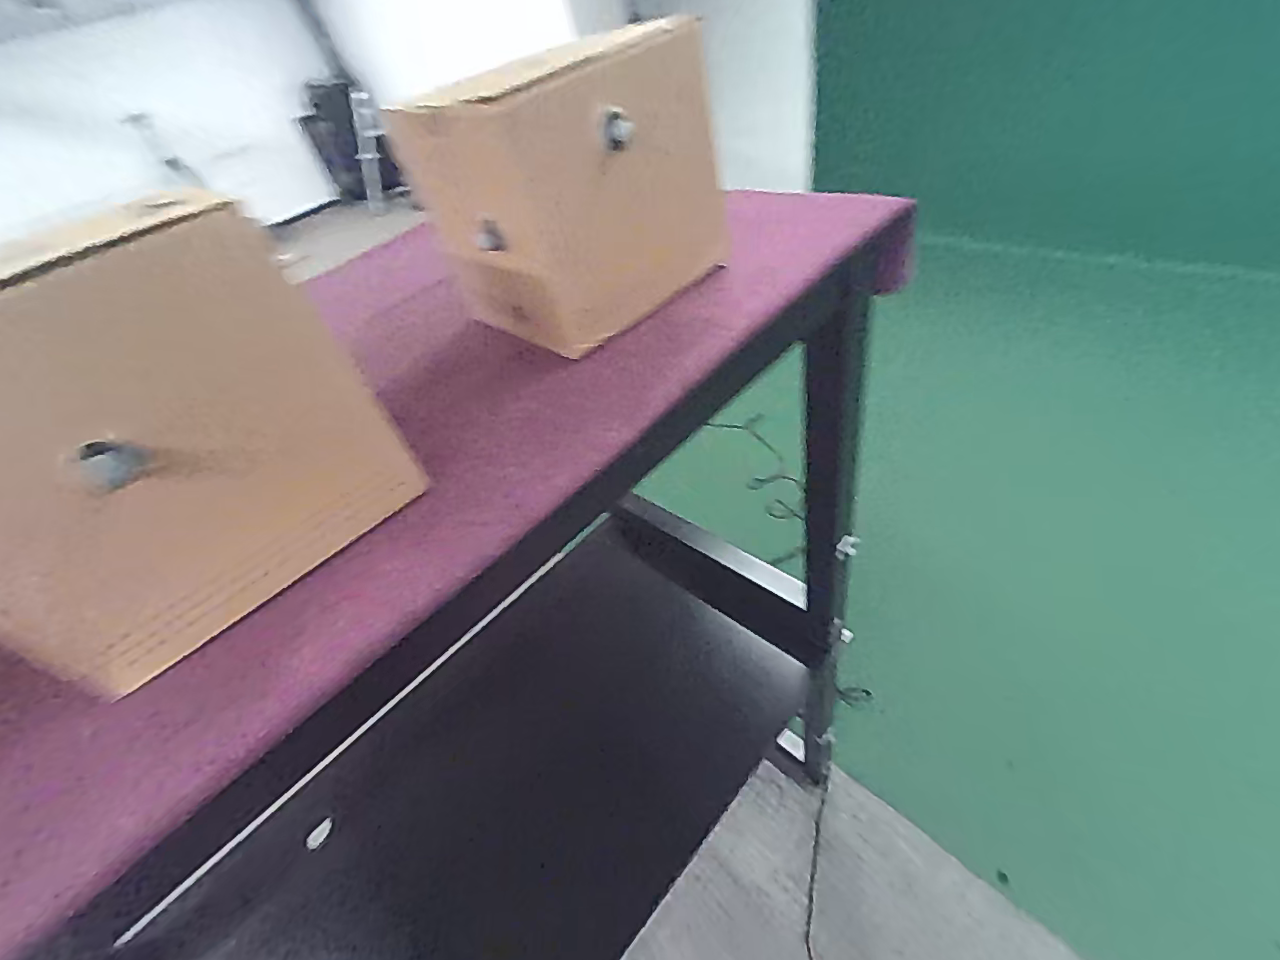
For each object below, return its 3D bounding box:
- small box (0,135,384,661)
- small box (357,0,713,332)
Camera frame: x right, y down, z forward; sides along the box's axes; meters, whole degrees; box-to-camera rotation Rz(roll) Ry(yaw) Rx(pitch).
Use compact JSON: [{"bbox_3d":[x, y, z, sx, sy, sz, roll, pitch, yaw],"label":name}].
[{"bbox_3d":[-0.271,-0.048,0.269,0.179,0.176,0.168,-40,48,-23],"label":"small box"},{"bbox_3d":[-0.063,-0.234,0.402,0.179,0.176,0.168,-37,47,-21],"label":"small box"}]
